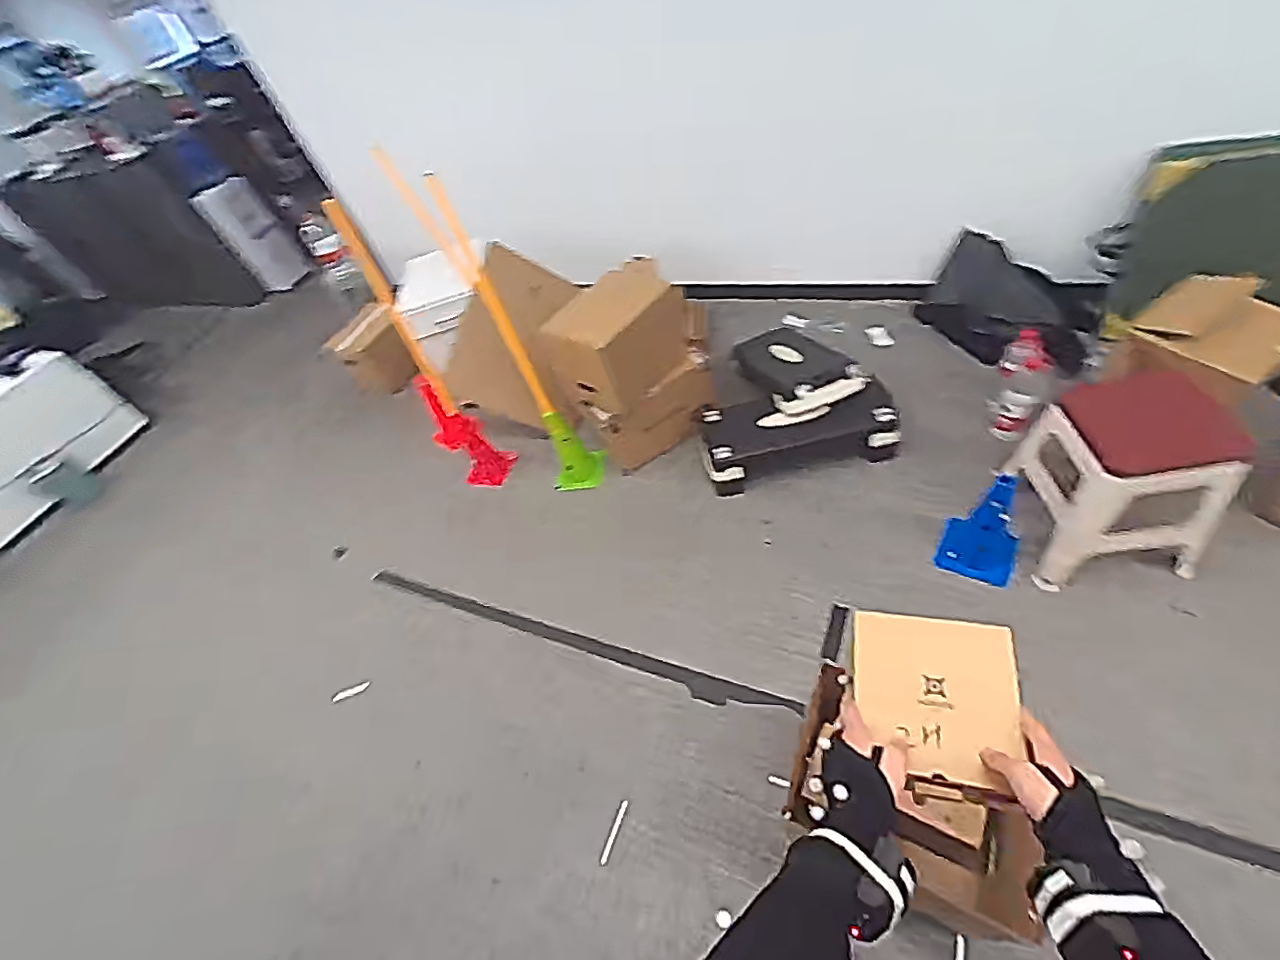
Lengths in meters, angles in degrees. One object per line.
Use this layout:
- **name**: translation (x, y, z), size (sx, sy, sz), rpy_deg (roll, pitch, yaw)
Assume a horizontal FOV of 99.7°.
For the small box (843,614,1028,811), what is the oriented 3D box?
- **small box**: translation (0.339, 0.283, 0.658), size (0.168, 0.176, 0.179), rpy_deg (2, 58, 19)
